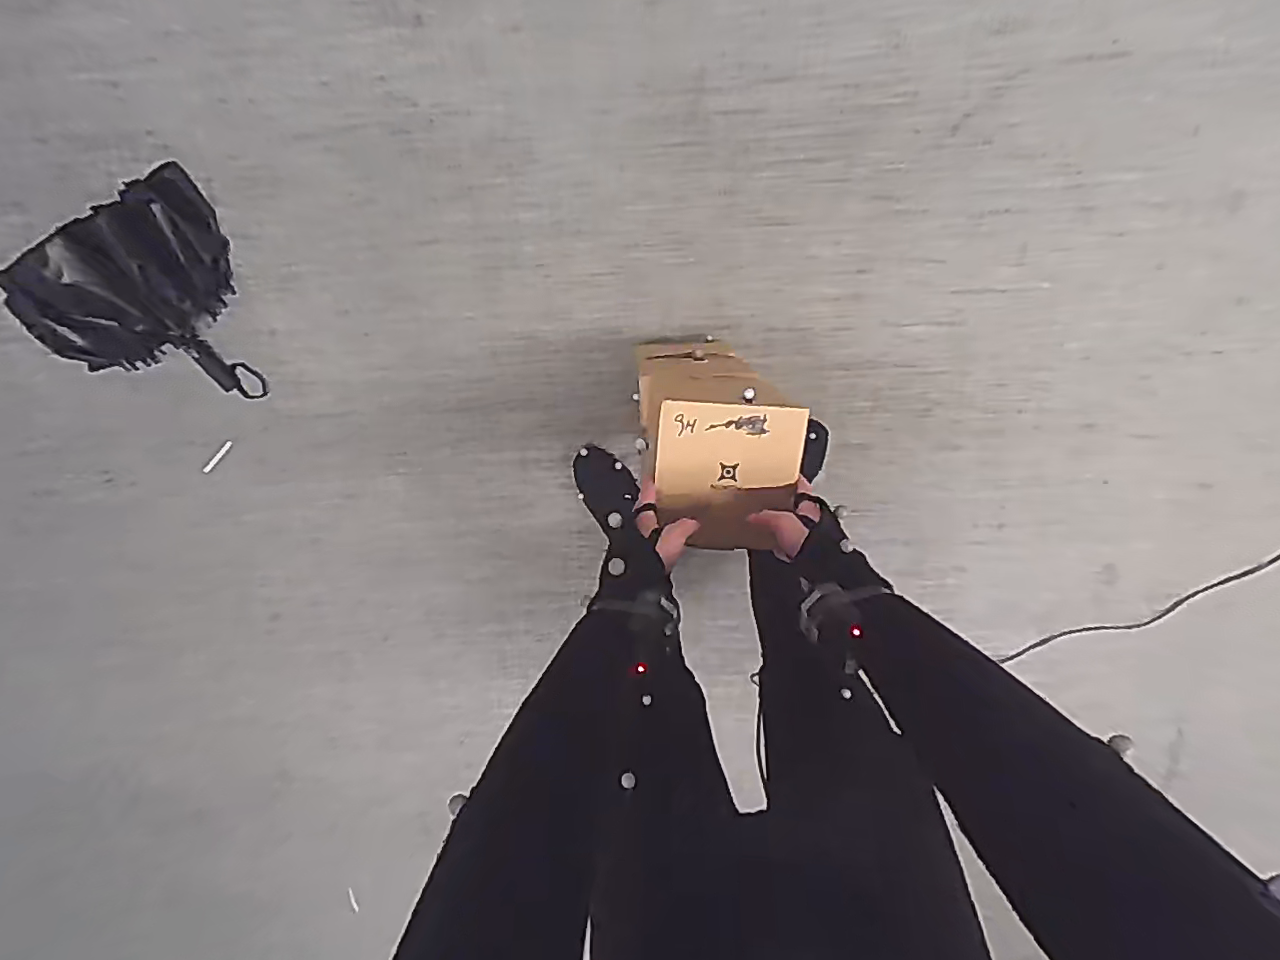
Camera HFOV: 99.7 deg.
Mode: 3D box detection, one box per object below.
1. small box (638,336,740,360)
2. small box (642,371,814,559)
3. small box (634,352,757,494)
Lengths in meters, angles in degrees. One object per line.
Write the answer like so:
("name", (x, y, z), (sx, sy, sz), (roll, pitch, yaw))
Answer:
("small box", (0.081, -0.158, 0.965), (0.168, 0.176, 0.179), (-3, 114, 2))
("small box", (0.091, -0.024, 0.659), (0.168, 0.176, 0.179), (2, 113, -4))
("small box", (0.078, -0.091, 0.818), (0.168, 0.176, 0.179), (-2, 112, 1))
